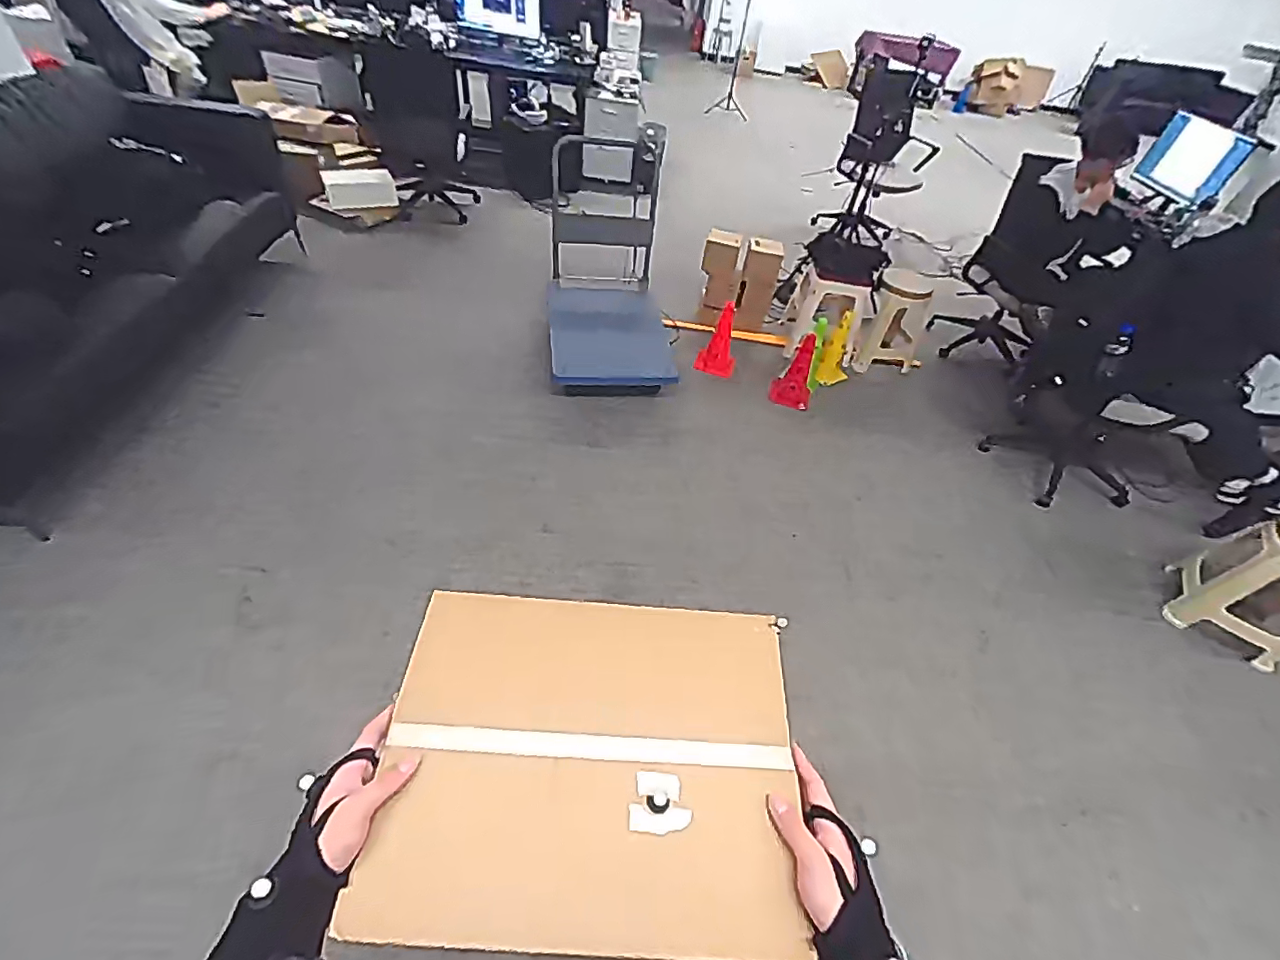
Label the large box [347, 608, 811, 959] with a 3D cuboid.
[{"bbox_3d":[-0.058,0.376,0.664,0.408,0.320,0.320,5,51,-2],"label":"large box"}]
